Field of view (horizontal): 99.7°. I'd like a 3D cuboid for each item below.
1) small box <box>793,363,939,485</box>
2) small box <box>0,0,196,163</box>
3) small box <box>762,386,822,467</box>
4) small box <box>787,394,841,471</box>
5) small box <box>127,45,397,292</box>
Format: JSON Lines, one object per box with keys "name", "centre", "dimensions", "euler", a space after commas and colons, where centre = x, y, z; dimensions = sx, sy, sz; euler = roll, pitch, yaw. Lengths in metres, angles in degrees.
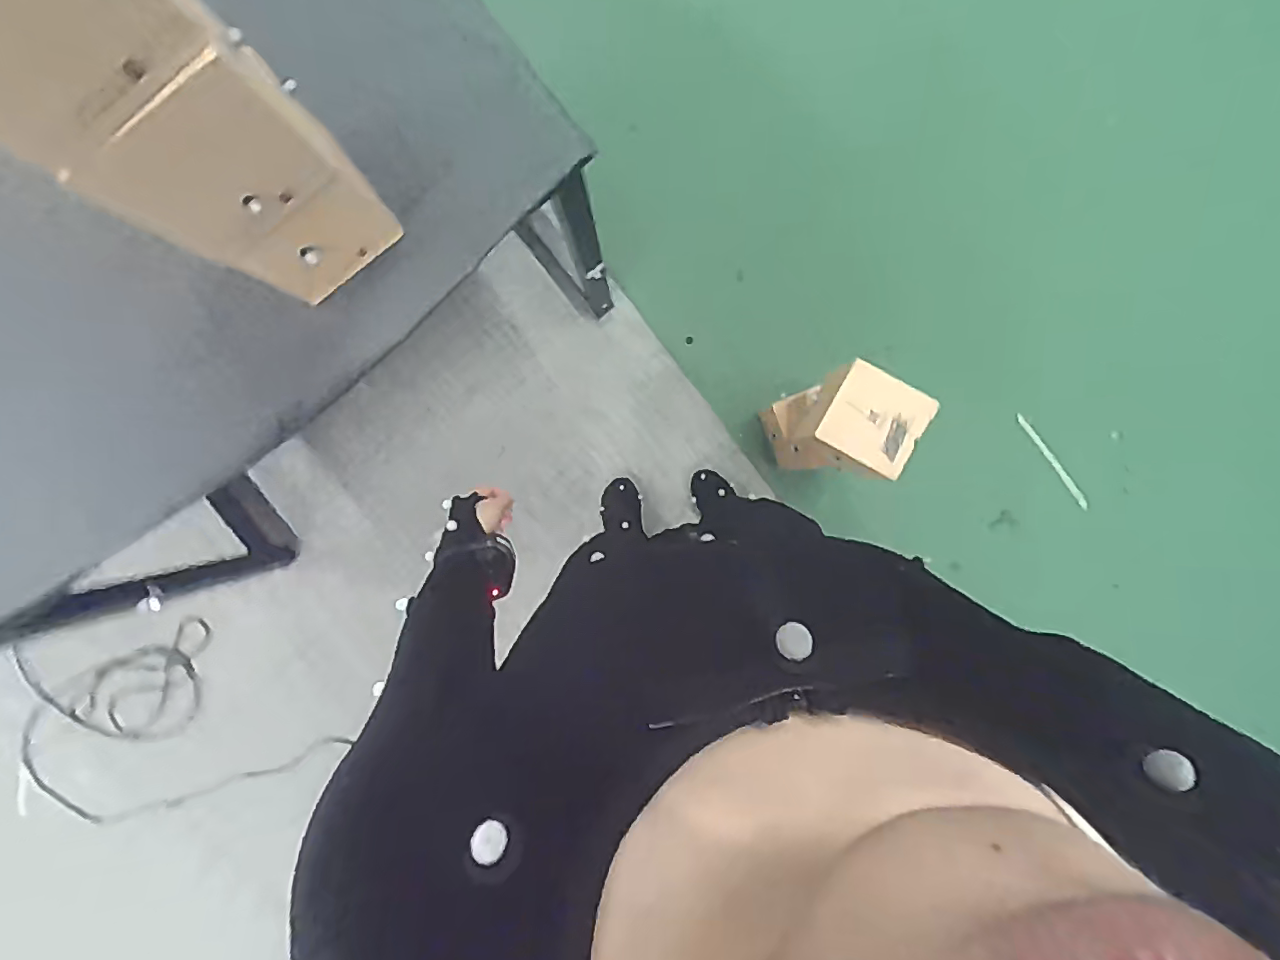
{"name": "small box", "centre": [0.432, -0.106, 1.062], "dimensions": [0.179, 0.176, 0.168], "euler": [30, 93, 1]}
{"name": "small box", "centre": [-0.451, -0.352, 0.337], "dimensions": [0.168, 0.176, 0.179], "euler": [-41, 89, 2]}
{"name": "small box", "centre": [0.427, -0.135, 1.388], "dimensions": [0.179, 0.176, 0.168], "euler": [-21, 91, 1]}
{"name": "small box", "centre": [0.439, -0.103, 1.227], "dimensions": [0.179, 0.176, 0.168], "euler": [0, 93, 0]}
{"name": "small box", "centre": [-0.442, -0.357, 0.665], "dimensions": [0.168, 0.176, 0.179], "euler": [-38, 89, 2]}
